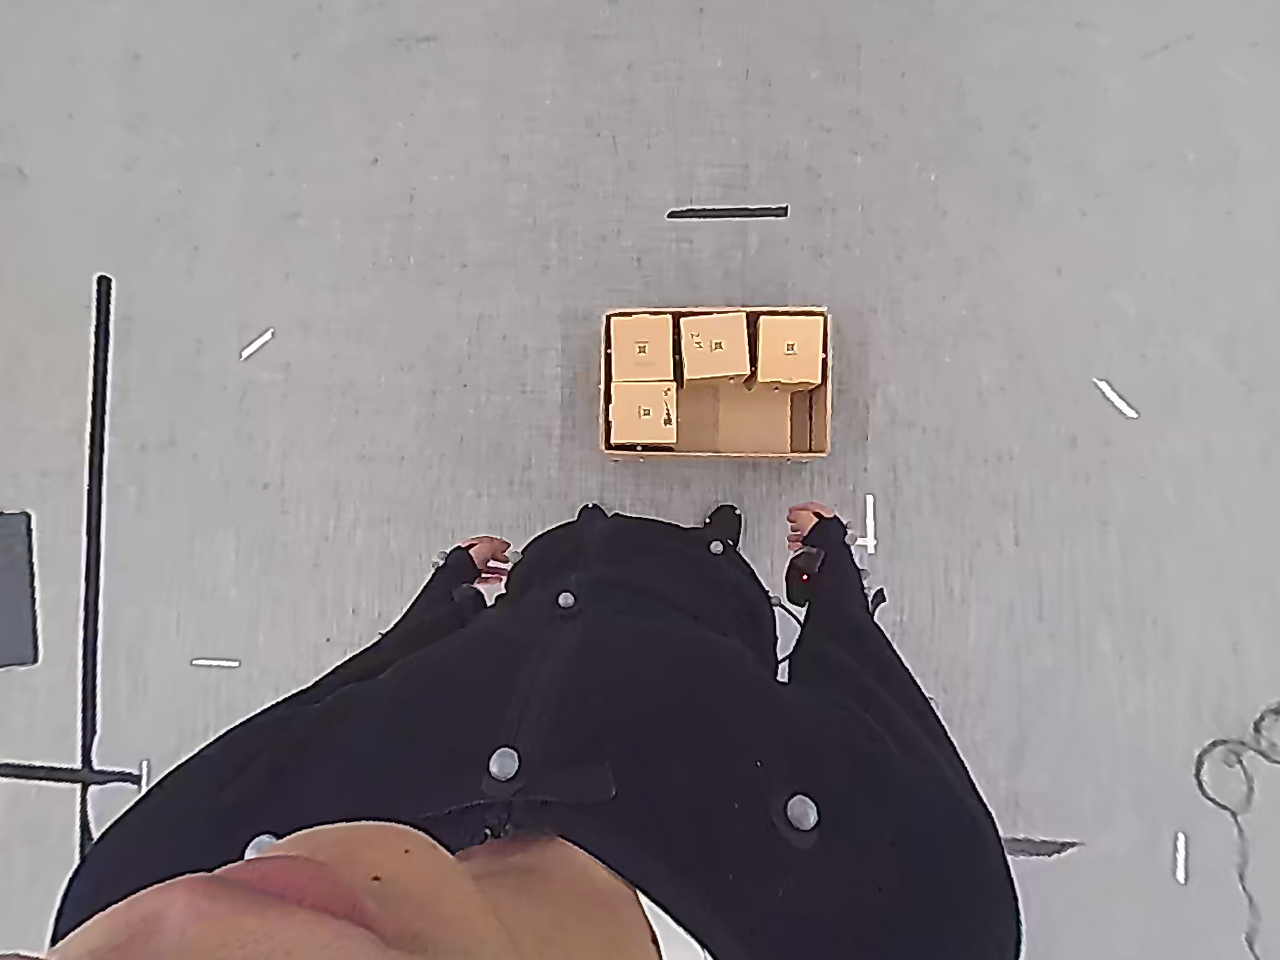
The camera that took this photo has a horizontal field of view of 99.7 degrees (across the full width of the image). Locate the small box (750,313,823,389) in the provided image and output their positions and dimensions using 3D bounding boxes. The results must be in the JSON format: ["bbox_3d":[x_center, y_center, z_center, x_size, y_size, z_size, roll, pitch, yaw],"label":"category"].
[{"bbox_3d":[0.398,-0.351,1.493,0.168,0.176,0.179,1,93,4],"label":"small box"}]
